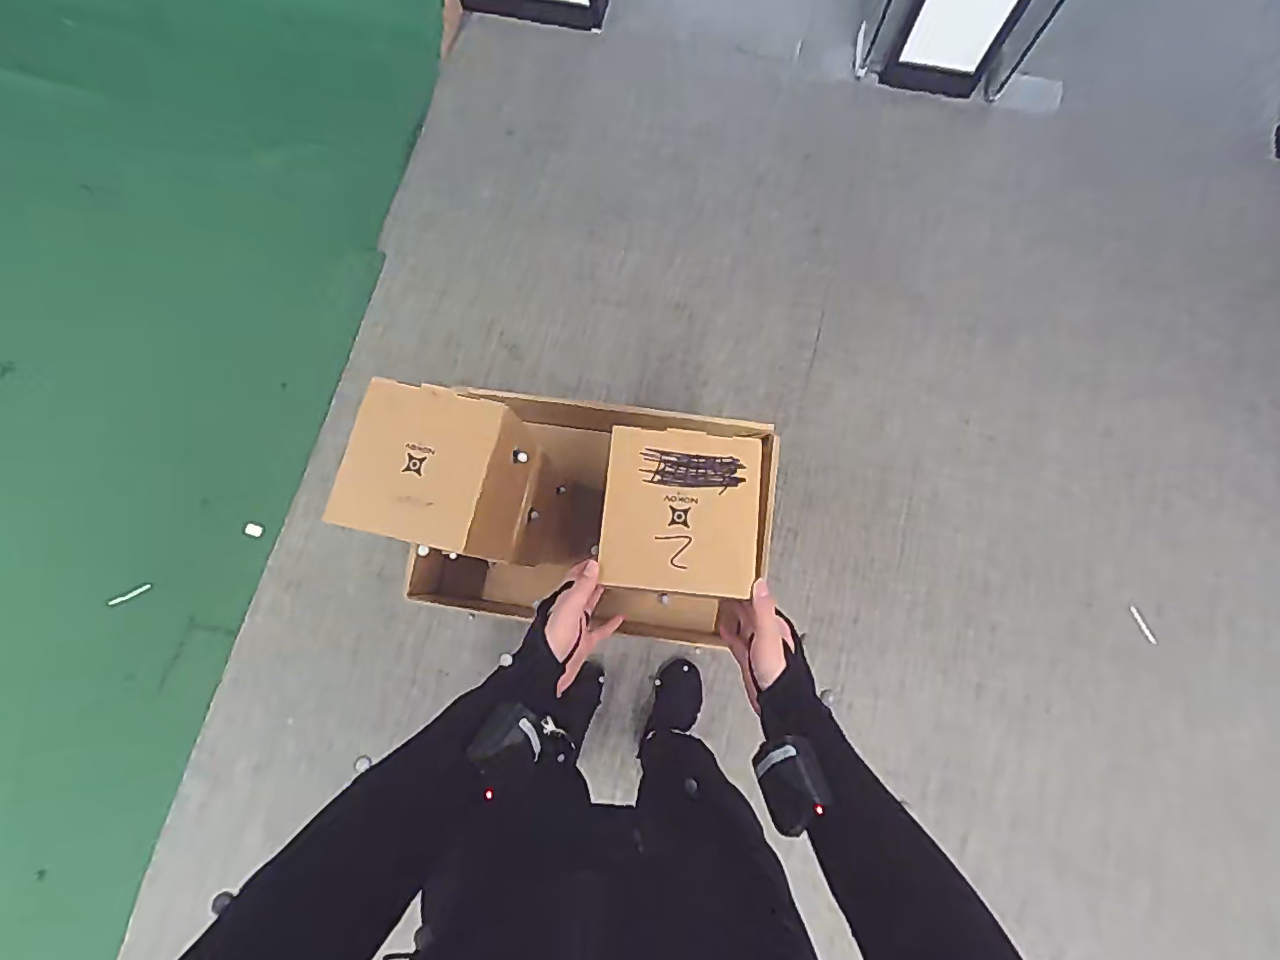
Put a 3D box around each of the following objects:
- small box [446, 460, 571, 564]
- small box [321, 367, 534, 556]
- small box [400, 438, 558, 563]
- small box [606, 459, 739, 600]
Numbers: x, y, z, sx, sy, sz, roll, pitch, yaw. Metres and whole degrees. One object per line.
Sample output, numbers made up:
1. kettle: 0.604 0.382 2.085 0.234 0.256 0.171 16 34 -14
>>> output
1. small box: -0.230 0.055 0.986 0.168 0.176 0.179 8 79 4
2. small box: -0.241 -0.012 0.666 0.168 0.176 0.179 13 80 5
3. small box: -0.234 0.024 0.825 0.168 0.176 0.179 12 79 4
4. small box: 0.046 0.078 0.804 0.168 0.176 0.179 6 79 1
